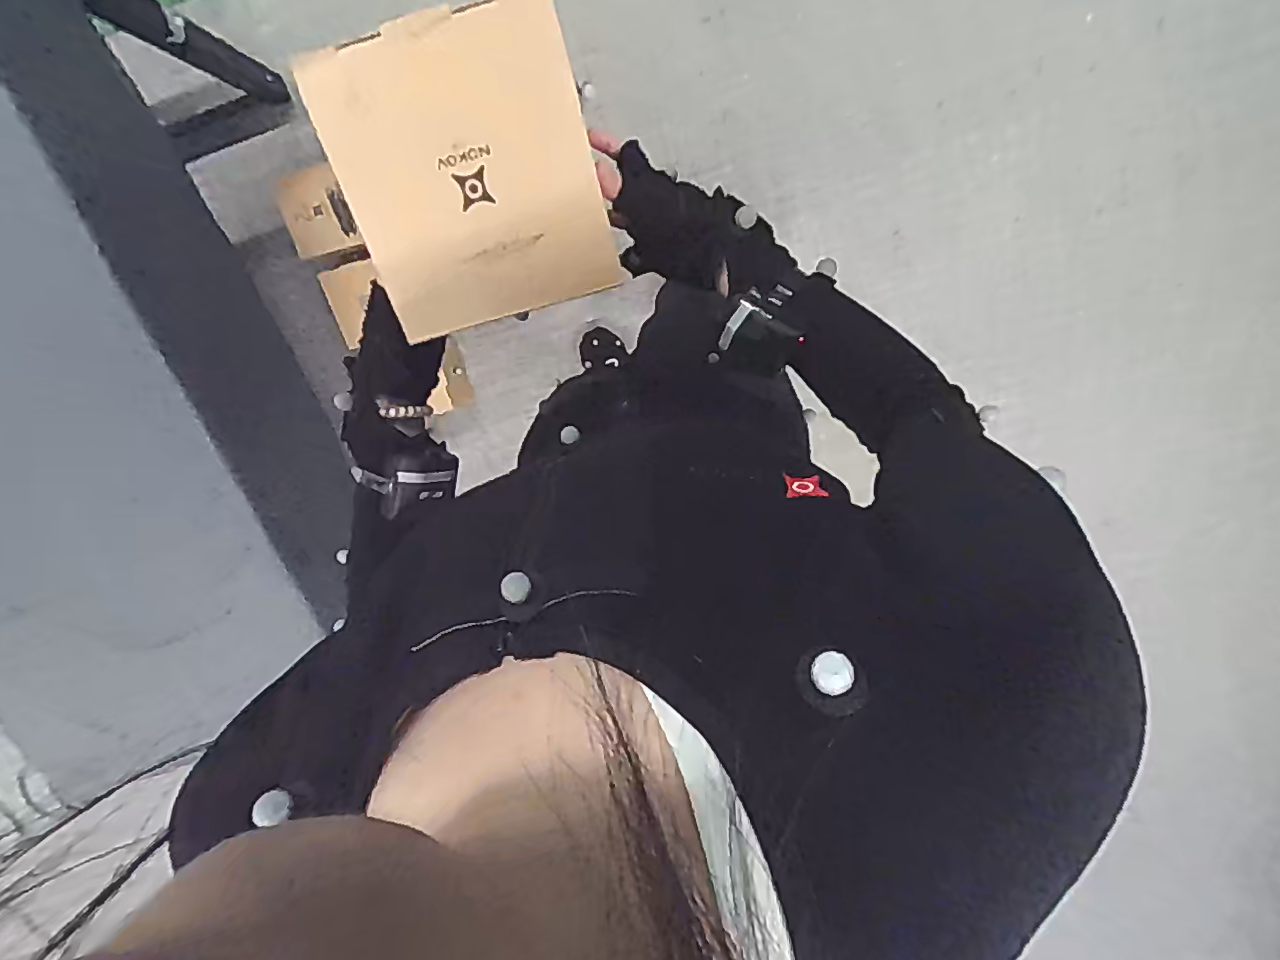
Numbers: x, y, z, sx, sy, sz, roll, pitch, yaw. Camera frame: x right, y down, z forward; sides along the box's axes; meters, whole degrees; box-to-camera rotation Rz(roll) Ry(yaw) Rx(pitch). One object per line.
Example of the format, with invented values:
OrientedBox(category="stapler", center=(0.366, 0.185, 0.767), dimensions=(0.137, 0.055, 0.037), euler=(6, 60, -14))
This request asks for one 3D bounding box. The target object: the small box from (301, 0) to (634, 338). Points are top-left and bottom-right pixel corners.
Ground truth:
OrientedBox(category="small box", center=(-0.108, -0.226, 0.417), dimensions=(0.168, 0.176, 0.179), euler=(-14, 115, 1))
